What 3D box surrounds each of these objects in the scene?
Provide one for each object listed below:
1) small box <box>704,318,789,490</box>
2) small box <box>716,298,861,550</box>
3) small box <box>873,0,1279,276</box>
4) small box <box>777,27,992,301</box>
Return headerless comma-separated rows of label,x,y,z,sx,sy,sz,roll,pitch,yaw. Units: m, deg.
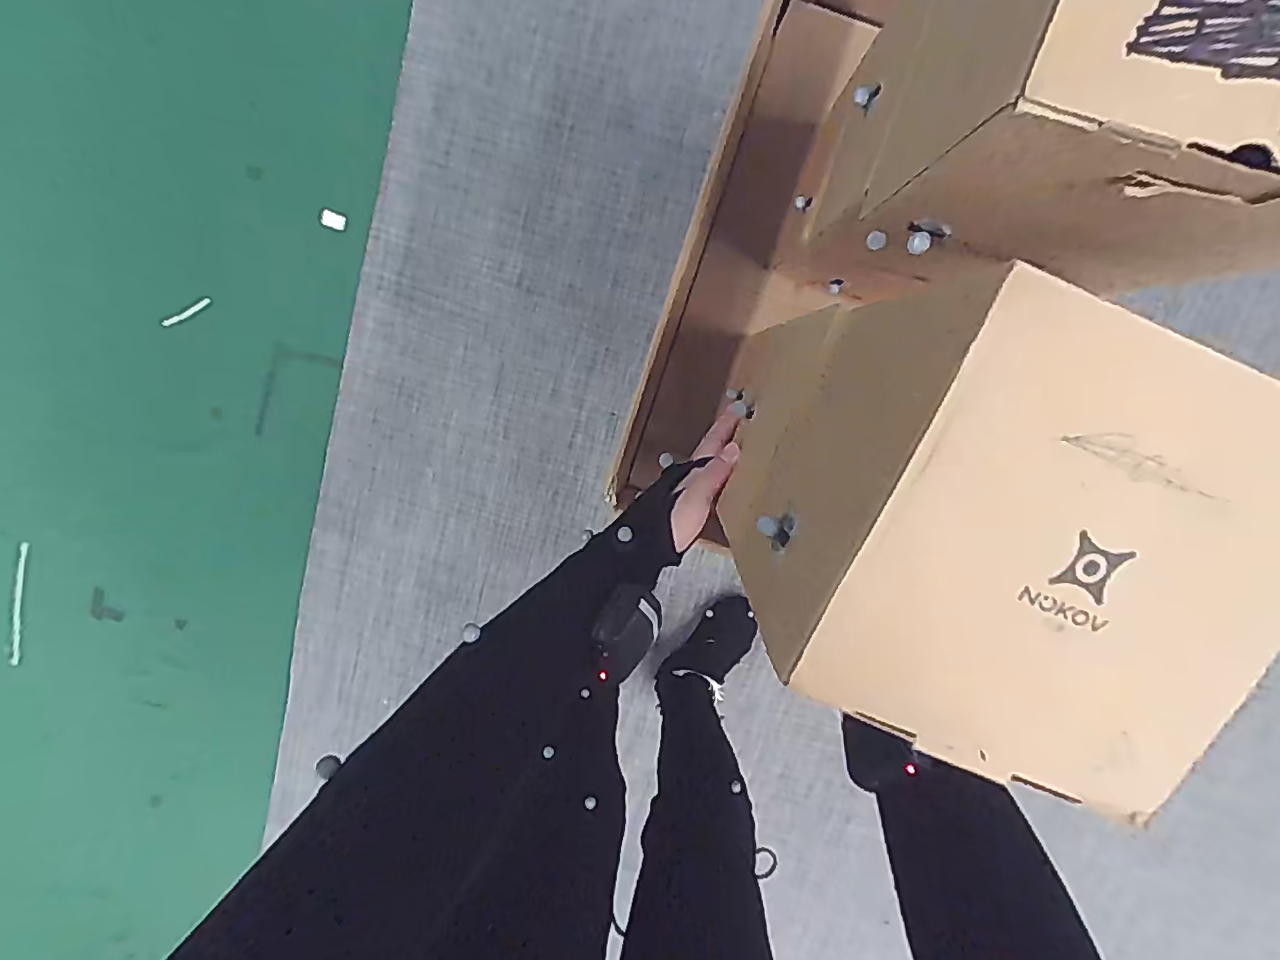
small box,0.176,-0.057,0.591,0.168,0.176,0.179,21,101,-1
small box,0.168,-0.023,0.431,0.168,0.176,0.179,21,103,-3
small box,0.227,-0.204,0.236,0.168,0.176,0.179,15,102,0
small box,0.254,-0.295,0.552,0.168,0.176,0.179,17,103,0
